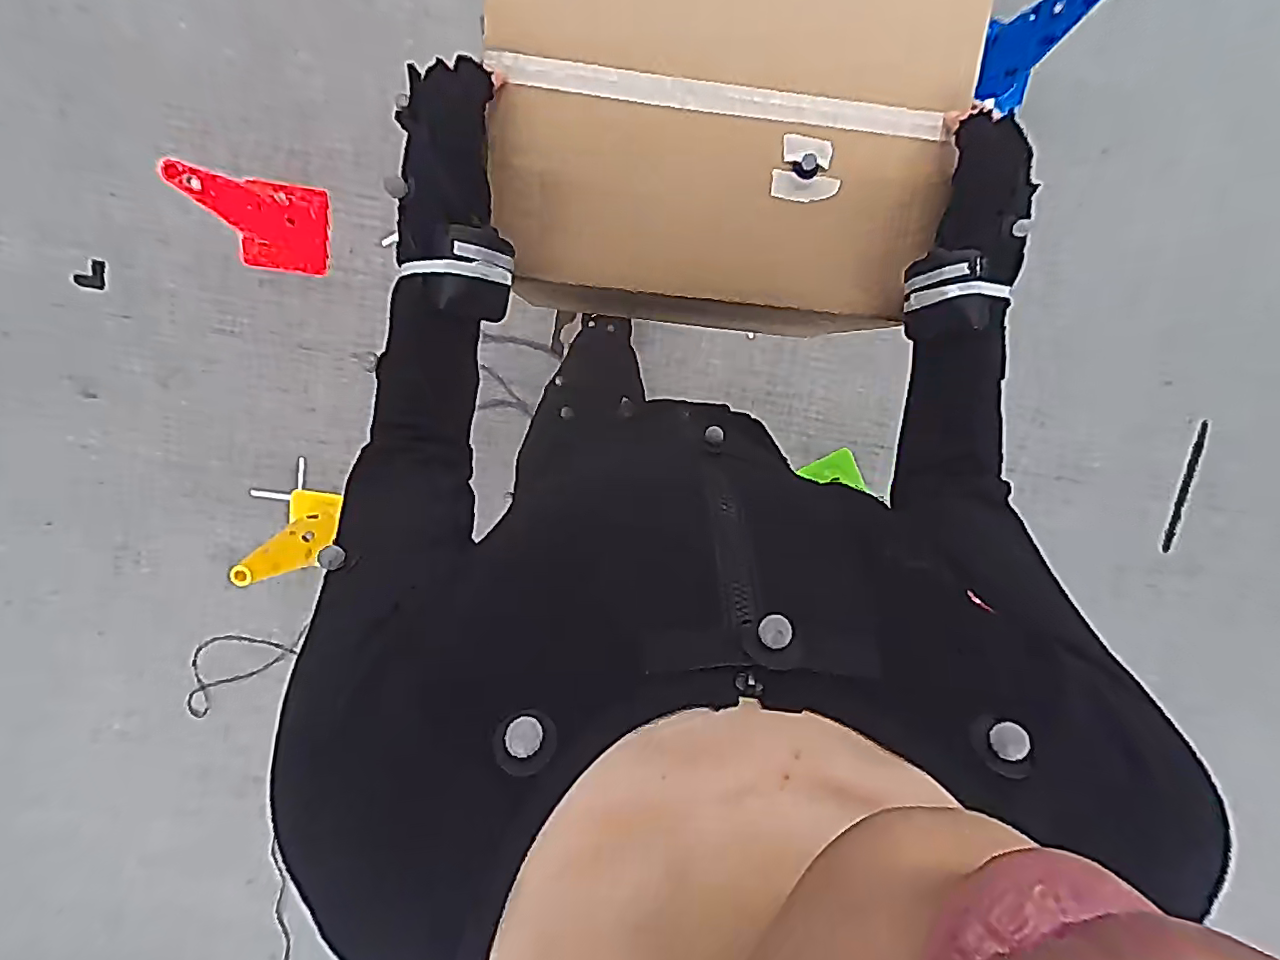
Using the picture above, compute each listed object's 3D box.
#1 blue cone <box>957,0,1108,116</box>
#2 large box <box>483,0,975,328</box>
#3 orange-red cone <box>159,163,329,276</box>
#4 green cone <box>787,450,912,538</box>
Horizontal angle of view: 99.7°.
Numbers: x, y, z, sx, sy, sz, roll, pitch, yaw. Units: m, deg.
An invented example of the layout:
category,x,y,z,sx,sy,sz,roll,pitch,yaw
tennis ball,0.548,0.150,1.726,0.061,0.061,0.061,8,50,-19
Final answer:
category,x,y,z,sx,sy,sz,roll,pitch,yaw
blue cone,0.896,-0.997,1.186,0.192,0.380,0.193,13,99,-7
large box,0.062,-0.353,0.597,0.408,0.320,0.320,5,102,-5
orange-red cone,-0.842,-0.573,1.131,0.198,0.360,0.199,7,100,-4
green cone,0.542,0.068,1.326,0.202,0.368,0.200,-28,101,0
